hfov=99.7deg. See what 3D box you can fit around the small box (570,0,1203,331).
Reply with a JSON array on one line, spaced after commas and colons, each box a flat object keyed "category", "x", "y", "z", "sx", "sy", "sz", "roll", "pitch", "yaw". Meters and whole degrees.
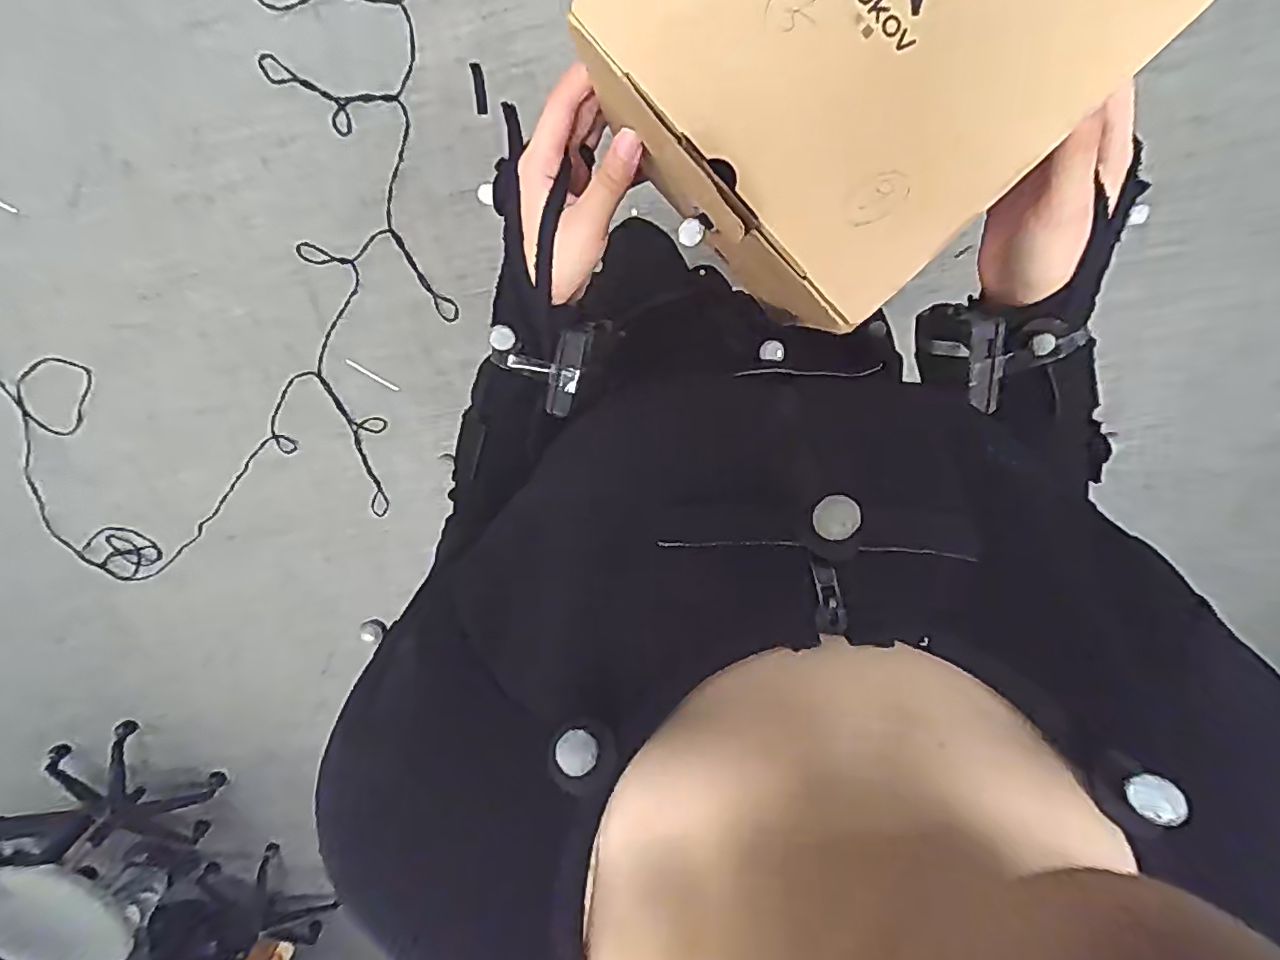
[{"category": "small box", "x": 0.095, "y": -0.199, "z": 0.277, "sx": 0.168, "sy": 0.176, "sz": 0.179, "roll": 44, "pitch": 106, "yaw": -9}]
